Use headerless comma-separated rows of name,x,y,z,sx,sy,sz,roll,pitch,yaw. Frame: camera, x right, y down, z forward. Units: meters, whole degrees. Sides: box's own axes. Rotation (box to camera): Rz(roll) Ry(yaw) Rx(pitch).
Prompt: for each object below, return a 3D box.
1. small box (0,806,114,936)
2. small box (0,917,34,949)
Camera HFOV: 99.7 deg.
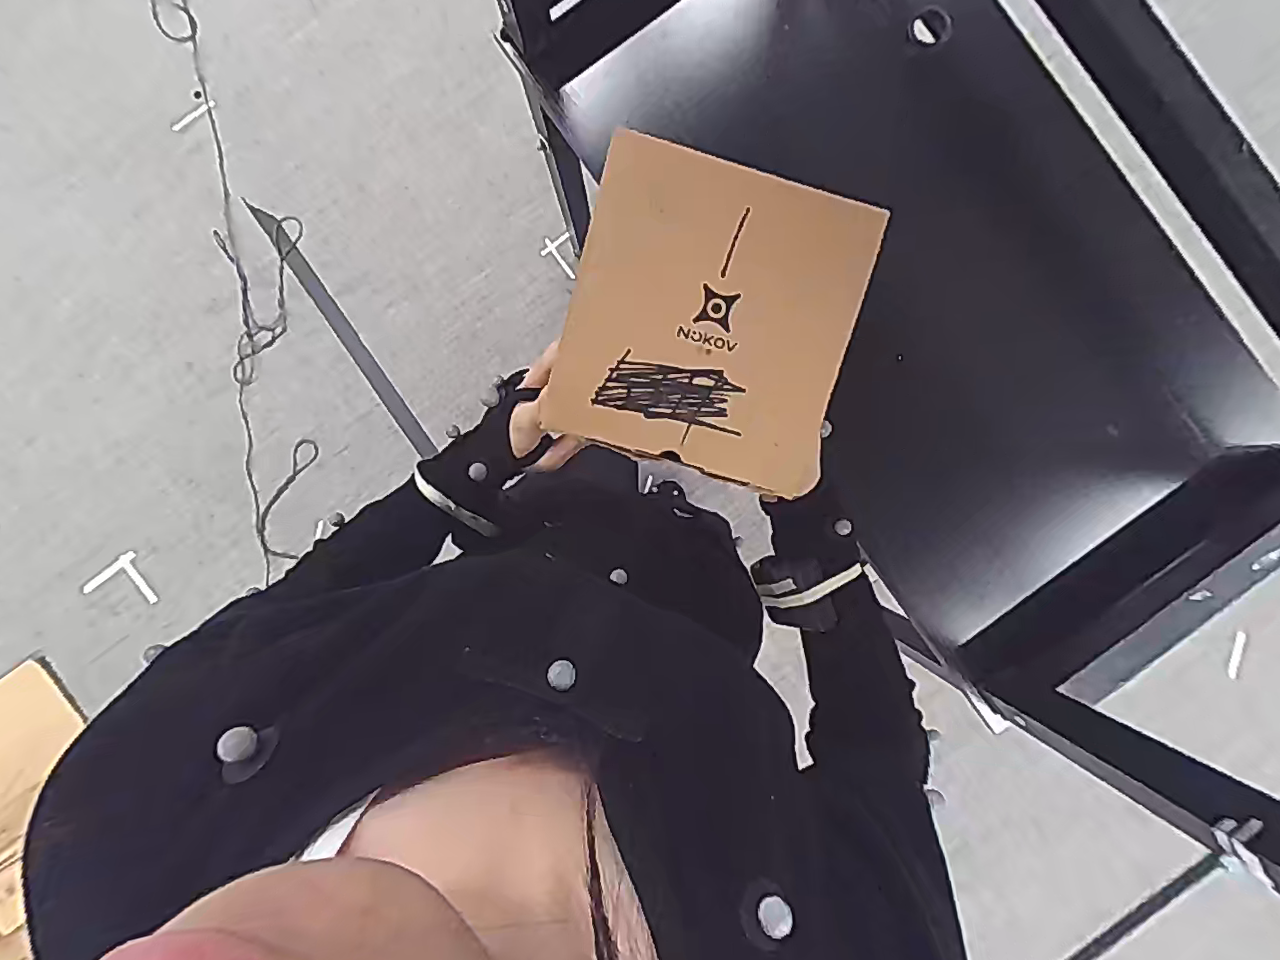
small box,-1.522,0.990,1.388,0.179,0.176,0.168,-38,90,1
small box,-1.741,1.169,1.387,0.179,0.176,0.168,-43,90,-1
